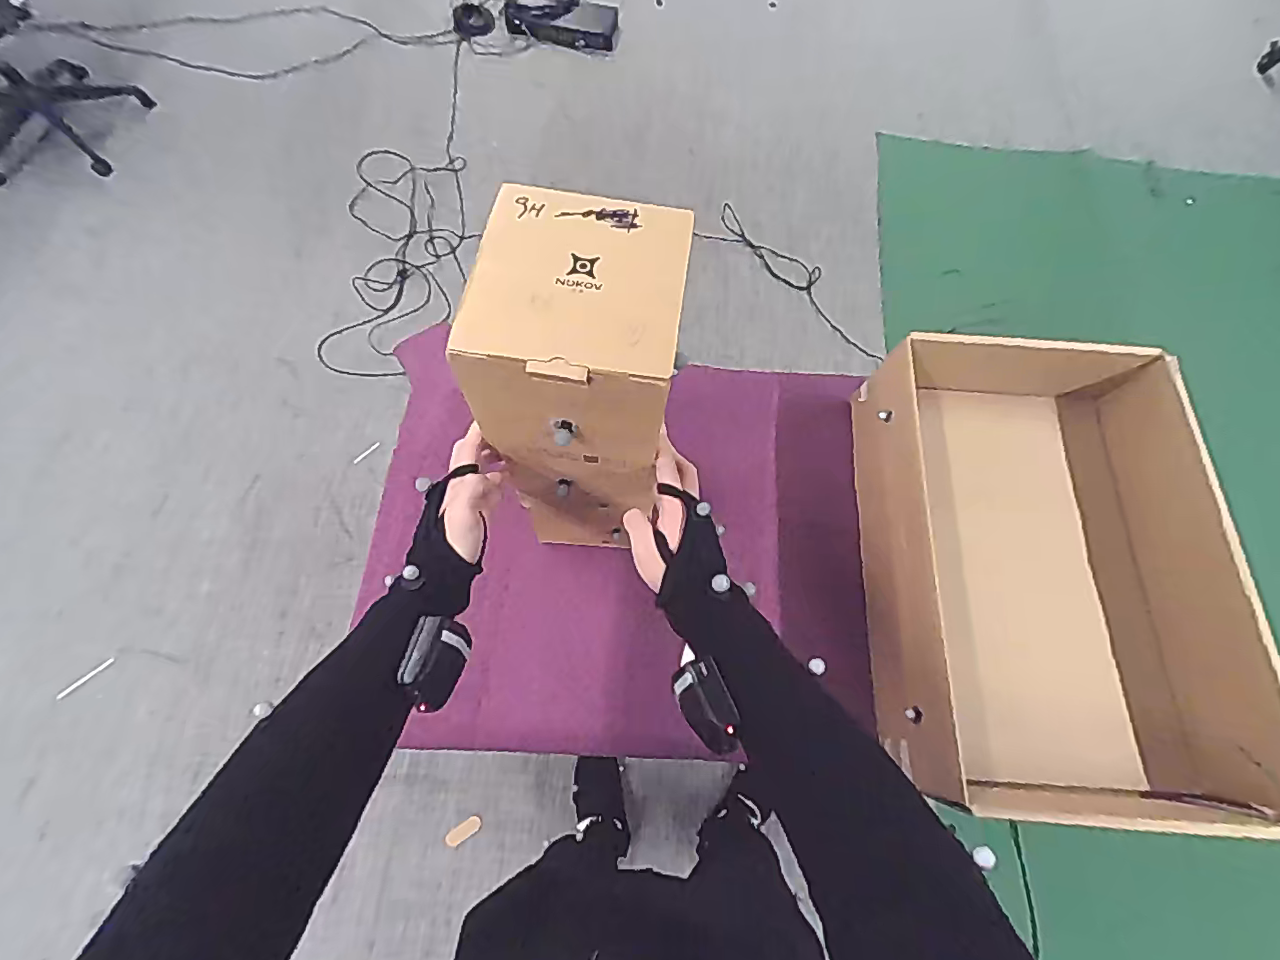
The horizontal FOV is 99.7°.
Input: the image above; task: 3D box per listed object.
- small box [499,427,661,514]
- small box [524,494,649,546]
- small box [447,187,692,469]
[{"bbox_3d":[-0.059,-0.068,0.649,0.168,0.176,0.179,4,67,-2],"label":"small box"},{"bbox_3d":[-0.065,-0.009,0.799,0.168,0.176,0.179,5,67,-2],"label":"small box"},{"bbox_3d":[-0.052,-0.125,0.494,0.168,0.176,0.179,9,68,0],"label":"small box"}]
